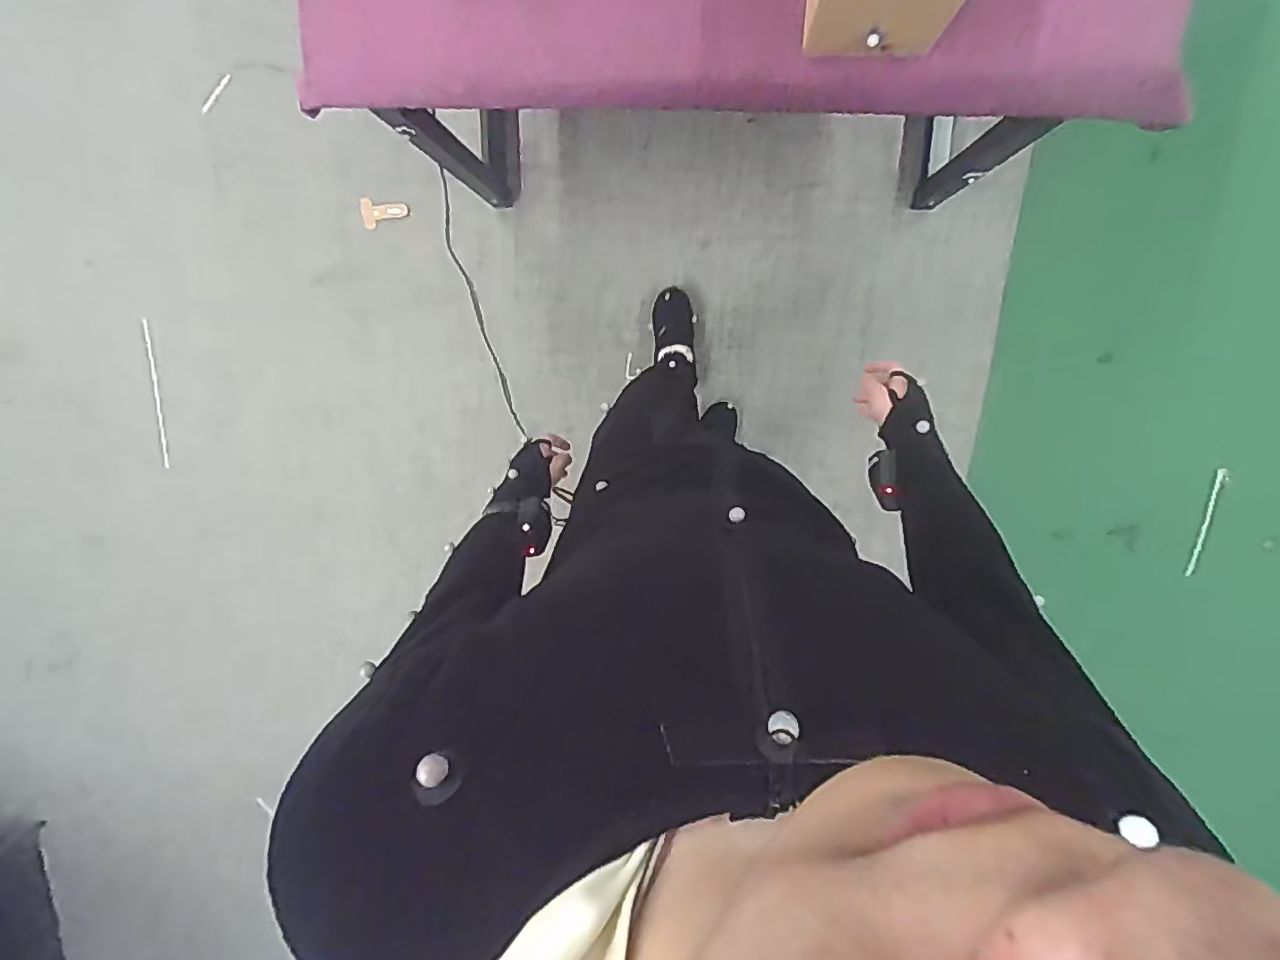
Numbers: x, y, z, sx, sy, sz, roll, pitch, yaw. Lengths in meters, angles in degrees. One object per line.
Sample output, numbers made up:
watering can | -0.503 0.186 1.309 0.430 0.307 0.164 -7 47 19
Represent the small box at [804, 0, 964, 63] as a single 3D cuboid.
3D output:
small box | 0.300 -0.644 0.643 0.168 0.176 0.179 5 101 5
